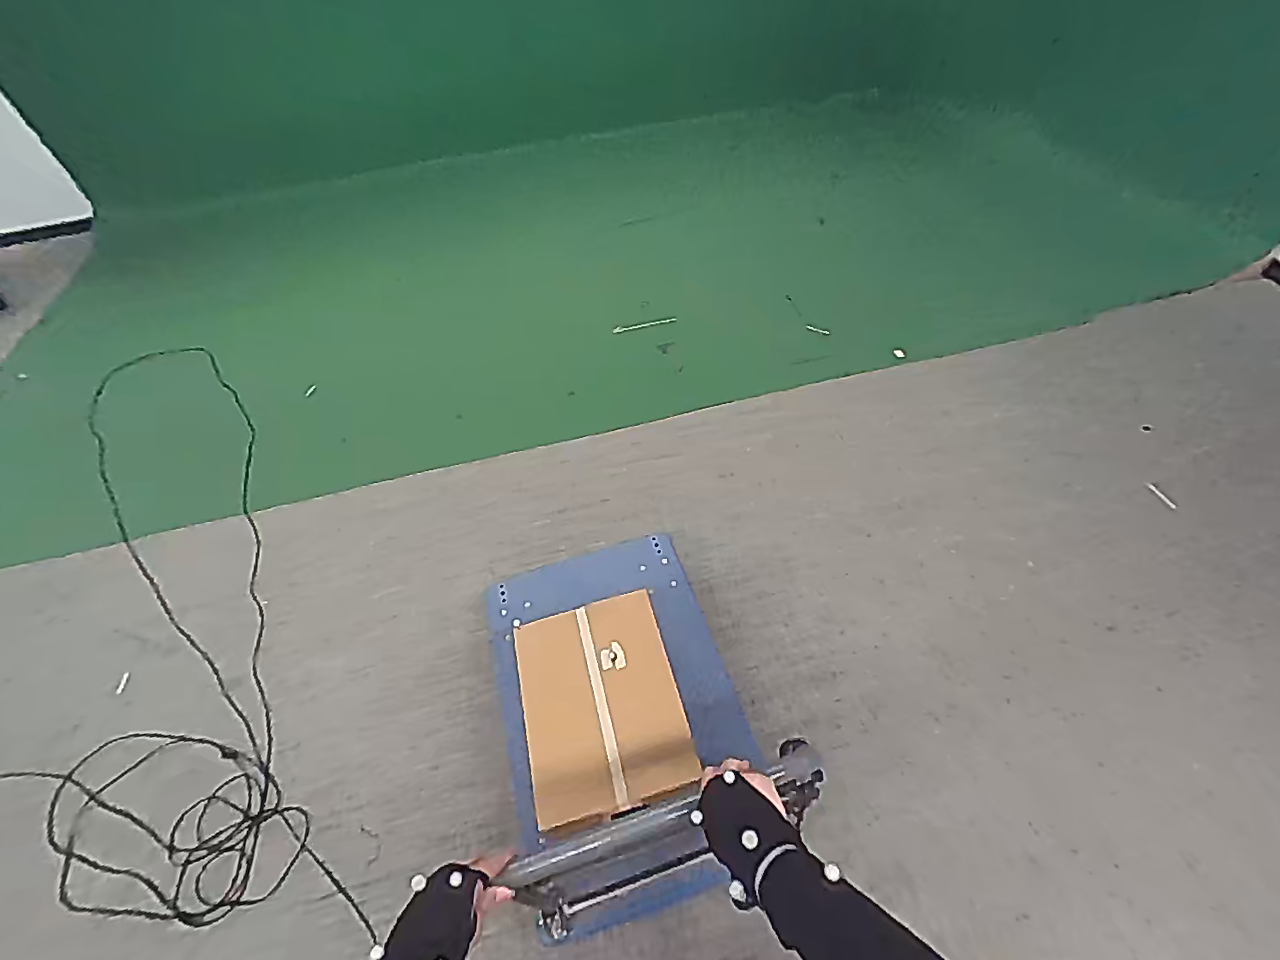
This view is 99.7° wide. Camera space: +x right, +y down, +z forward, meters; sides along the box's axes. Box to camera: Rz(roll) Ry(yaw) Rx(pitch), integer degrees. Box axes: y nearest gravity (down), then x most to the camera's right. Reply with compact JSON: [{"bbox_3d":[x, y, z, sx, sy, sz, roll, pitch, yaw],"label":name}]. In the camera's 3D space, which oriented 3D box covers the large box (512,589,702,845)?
[{"bbox_3d":[-0.071,0.525,1.207,0.320,0.320,0.408,-15,51,-6],"label":"large box"}]
